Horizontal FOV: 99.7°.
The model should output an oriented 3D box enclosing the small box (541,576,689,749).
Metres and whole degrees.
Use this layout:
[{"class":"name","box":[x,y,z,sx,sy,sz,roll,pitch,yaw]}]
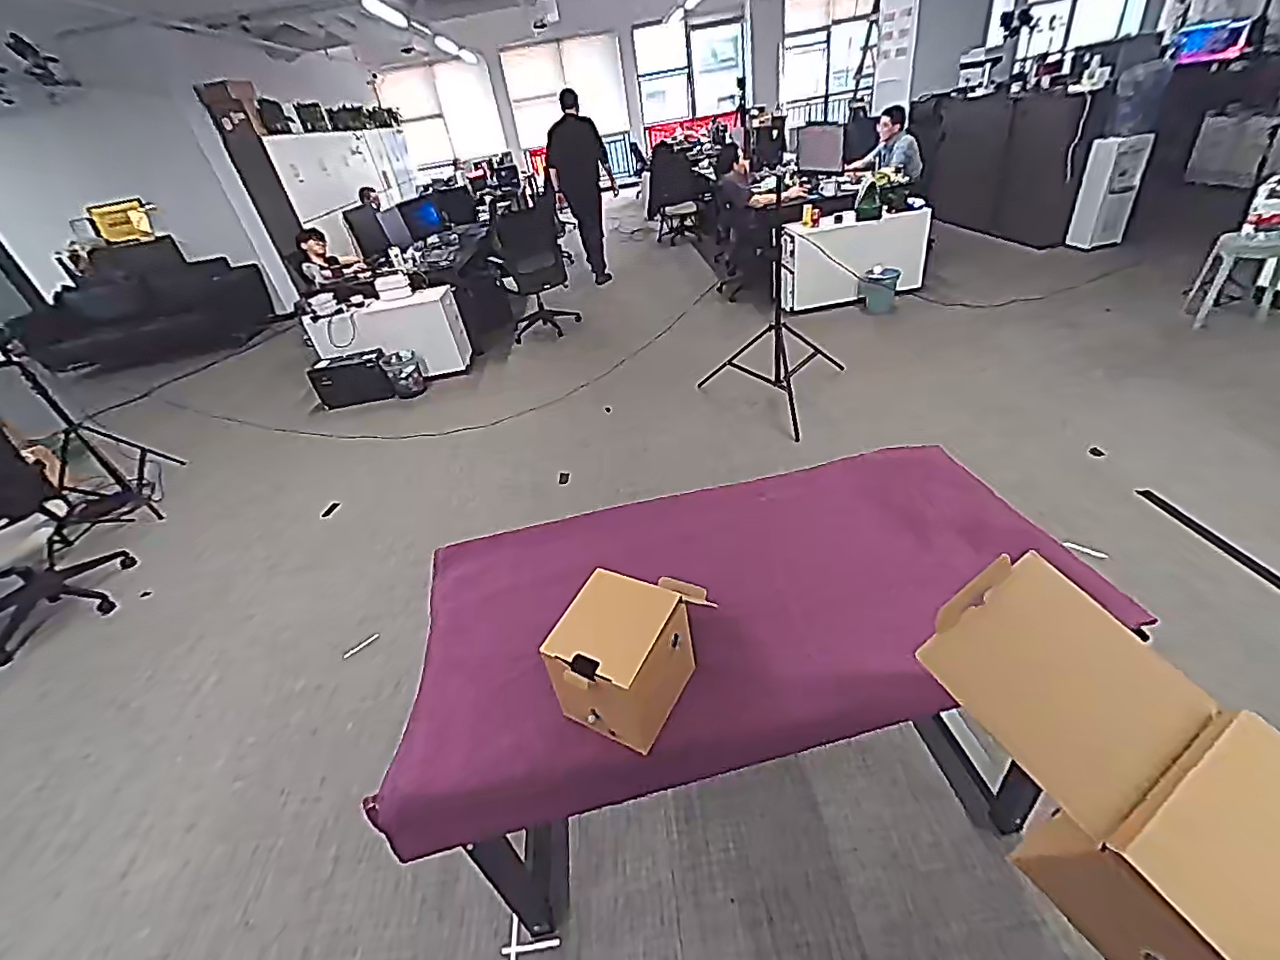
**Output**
[{"class":"small box","box":[-0.030,0.292,0.882,0.168,0.176,0.179,11,39,30]}]
